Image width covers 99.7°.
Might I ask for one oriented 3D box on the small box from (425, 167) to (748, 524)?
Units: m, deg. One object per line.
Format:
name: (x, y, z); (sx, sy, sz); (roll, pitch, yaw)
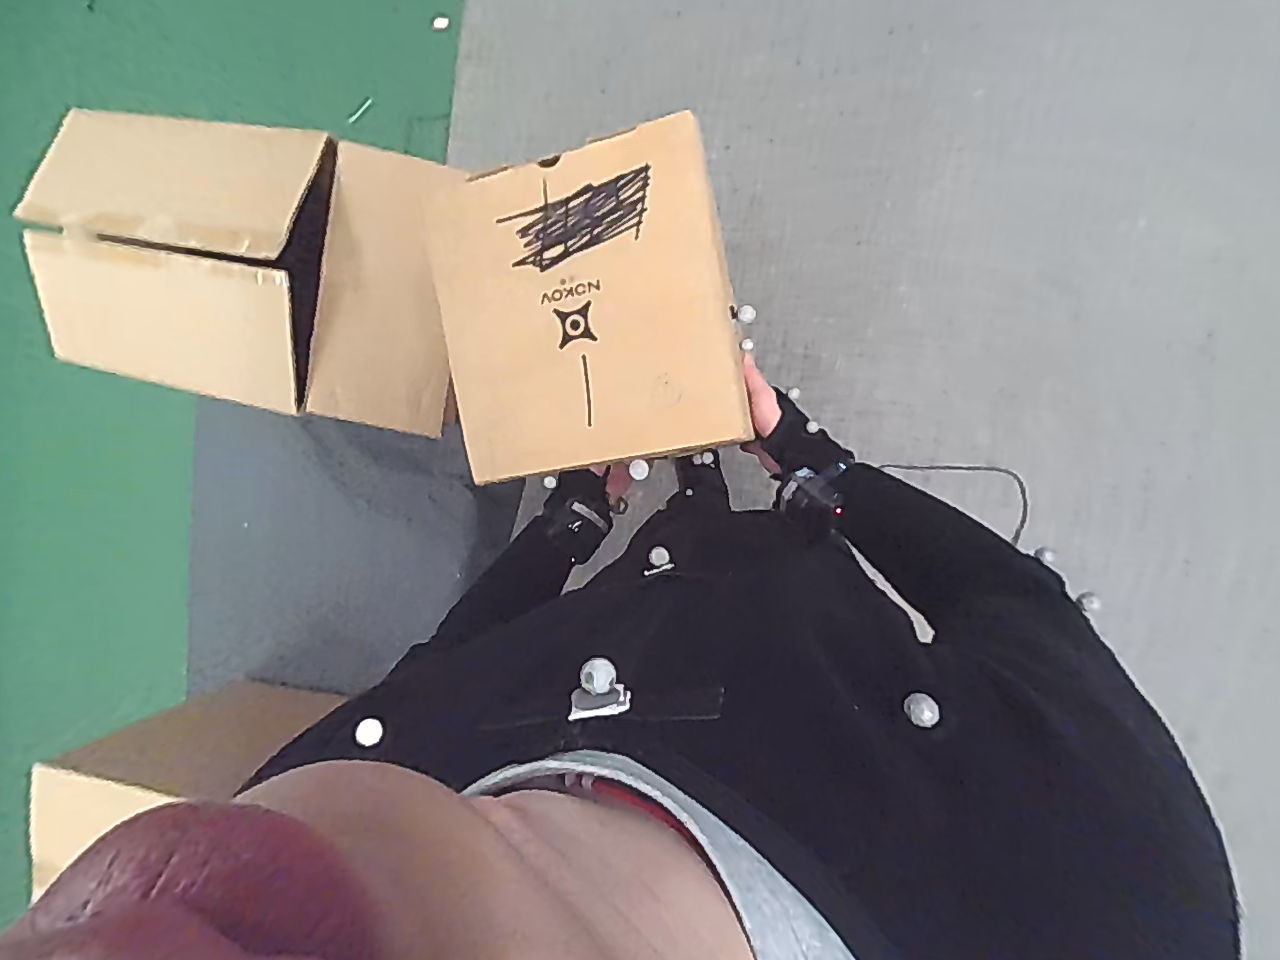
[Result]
small box: (-0.018, -0.076, 0.380); (0.168, 0.176, 0.179); (-8, 95, 14)
